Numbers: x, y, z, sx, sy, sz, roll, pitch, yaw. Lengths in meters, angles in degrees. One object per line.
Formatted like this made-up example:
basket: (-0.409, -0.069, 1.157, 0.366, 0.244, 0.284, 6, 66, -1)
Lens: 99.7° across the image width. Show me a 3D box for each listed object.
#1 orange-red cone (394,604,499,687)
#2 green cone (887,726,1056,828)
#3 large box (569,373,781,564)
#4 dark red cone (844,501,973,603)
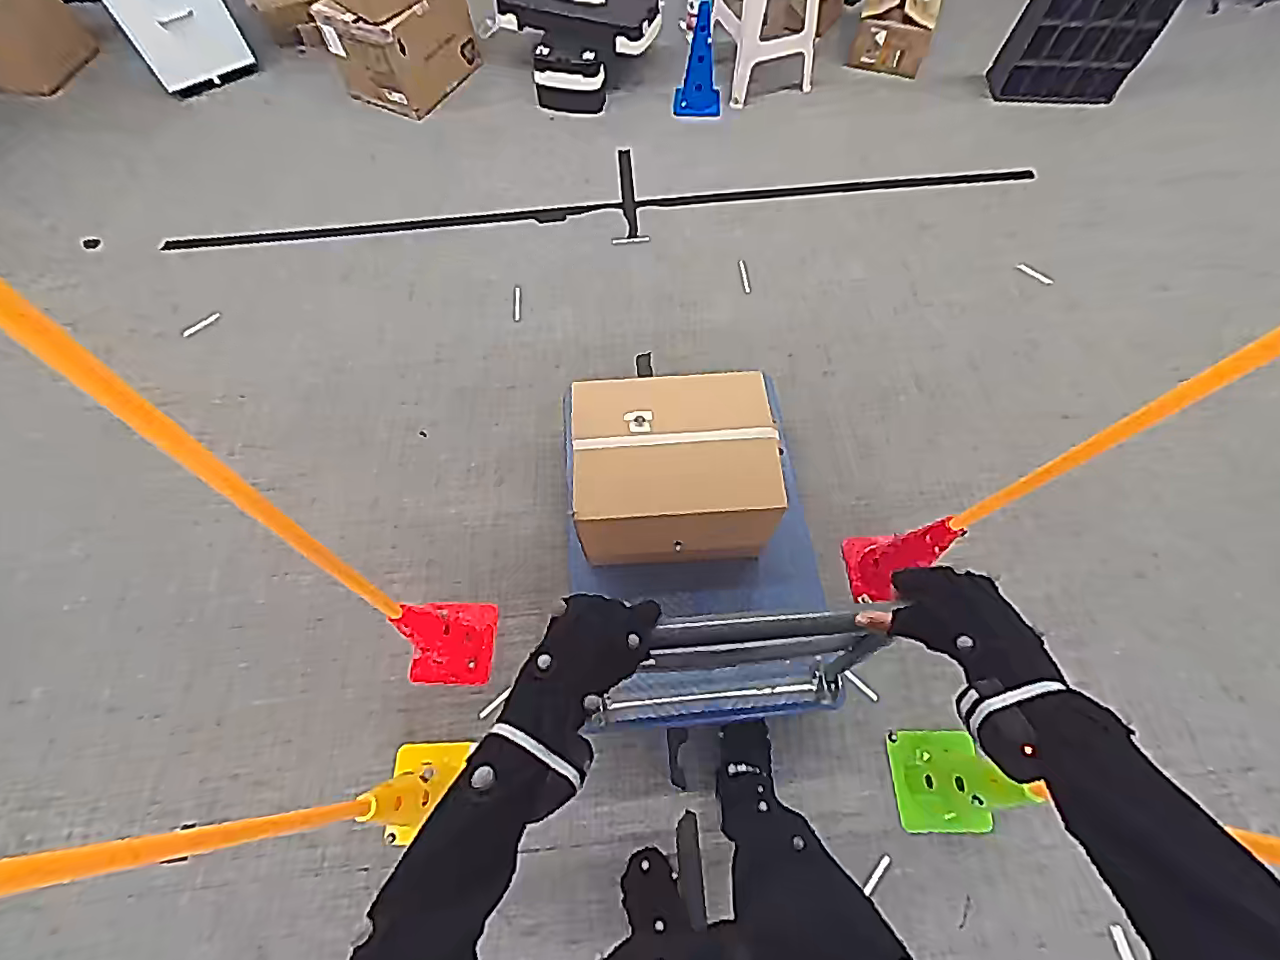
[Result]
orange-red cone: (-0.468, 0.339, 1.221, 0.198, 0.360, 0.199, 2, 63, 2)
green cone: (0.673, 0.591, 1.064, 0.202, 0.368, 0.200, -1, 64, 0)
large box: (0.066, -0.010, 1.215, 0.408, 0.320, 0.320, -4, 65, 0)
dark red cone: (0.649, 0.148, 1.262, 0.201, 0.394, 0.202, -4, 64, -3)
